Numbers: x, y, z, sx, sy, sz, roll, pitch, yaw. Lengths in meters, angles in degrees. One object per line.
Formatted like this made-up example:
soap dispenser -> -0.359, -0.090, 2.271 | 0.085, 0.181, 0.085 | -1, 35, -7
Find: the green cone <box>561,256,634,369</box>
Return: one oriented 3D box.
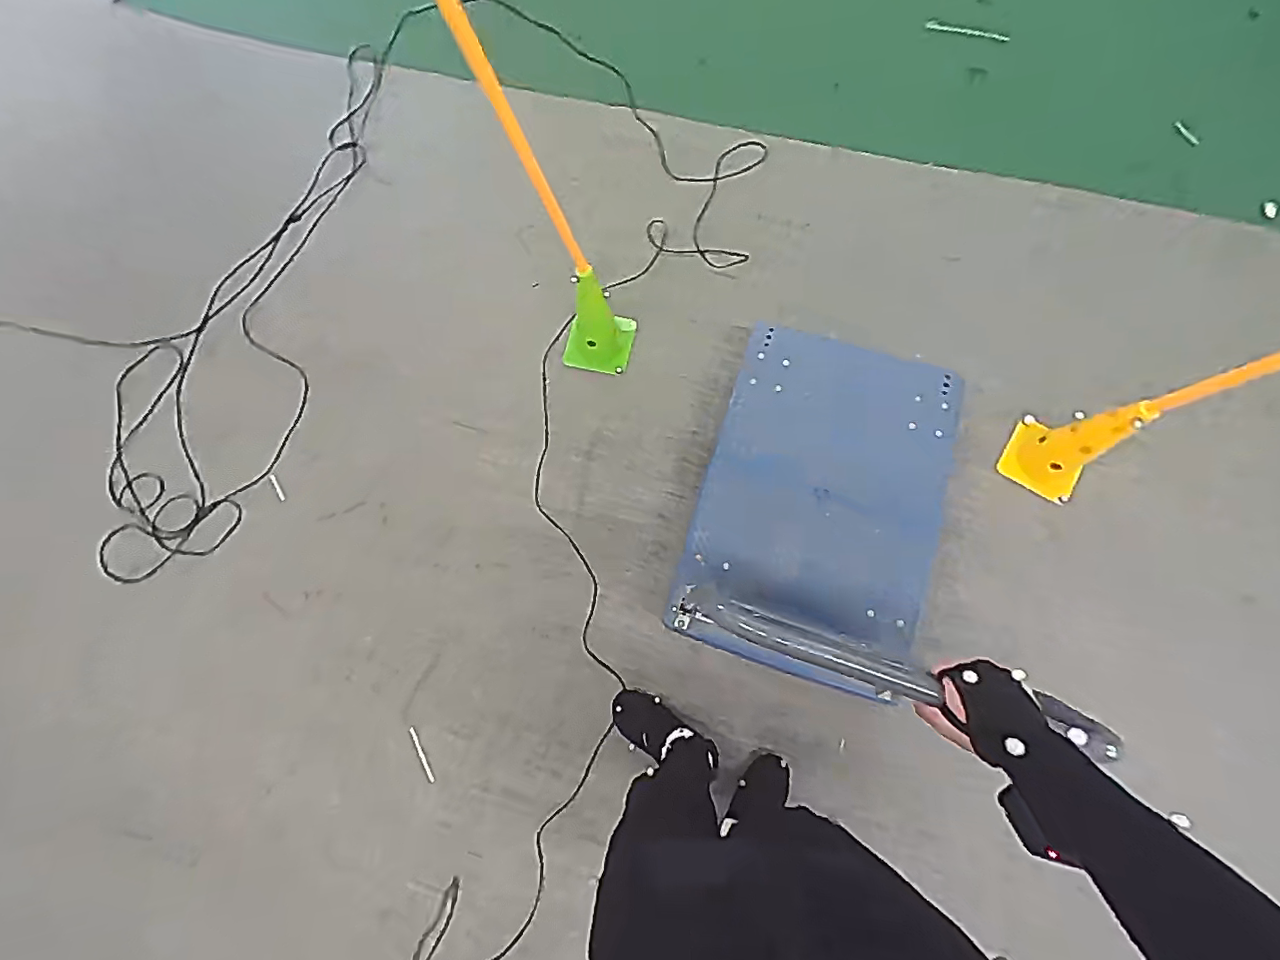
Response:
green cone -> -0.142, -0.494, 1.516 | 0.202, 0.368, 0.200 | 11, 74, 7
